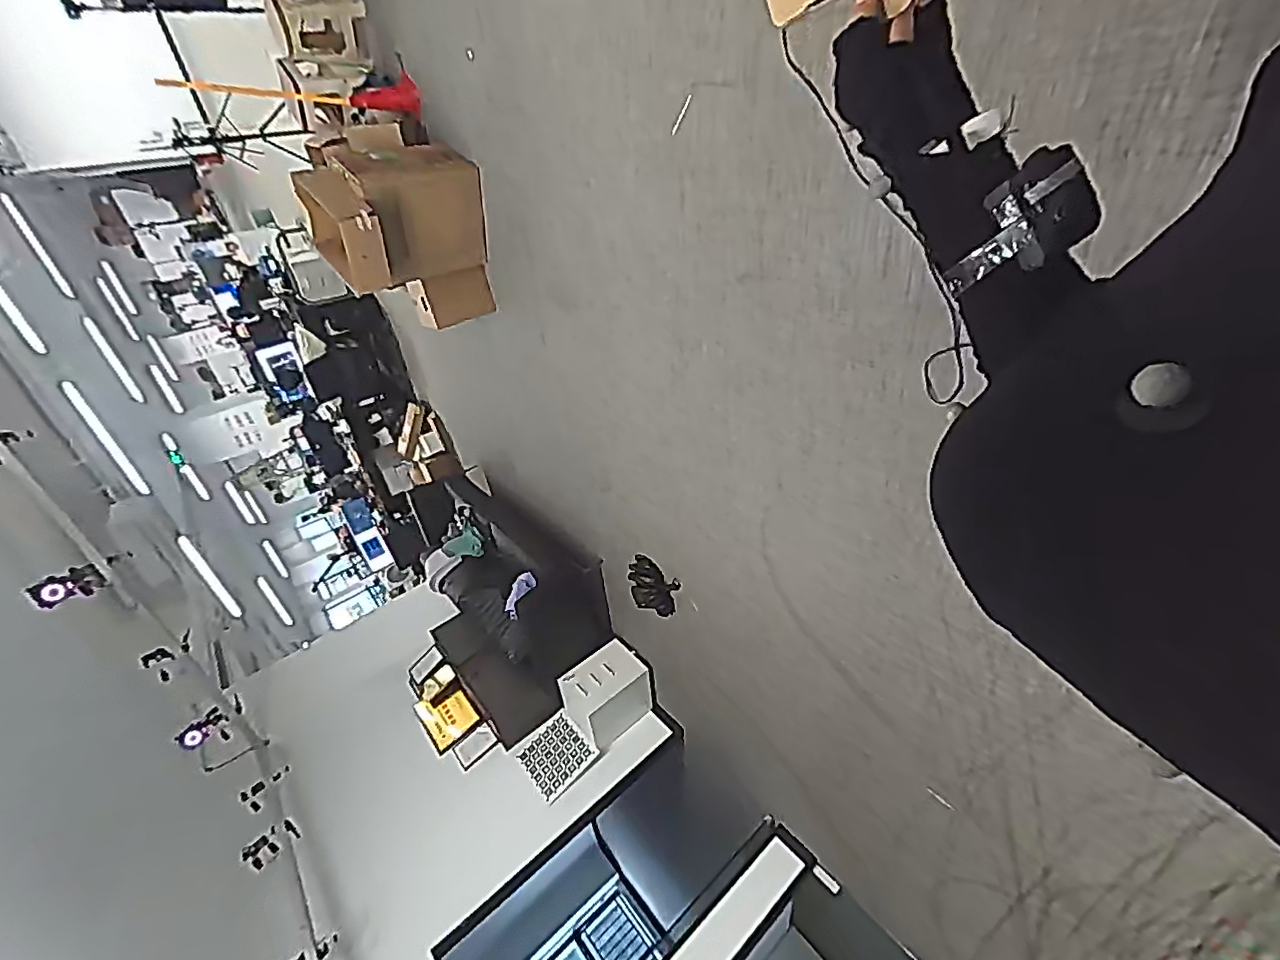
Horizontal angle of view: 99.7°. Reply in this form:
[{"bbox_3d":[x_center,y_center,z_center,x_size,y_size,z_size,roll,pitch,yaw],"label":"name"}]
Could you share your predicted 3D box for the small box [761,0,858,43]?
[{"bbox_3d":[0.172,-0.456,0.363,0.168,0.176,0.179,11,137,55],"label":"small box"}]
